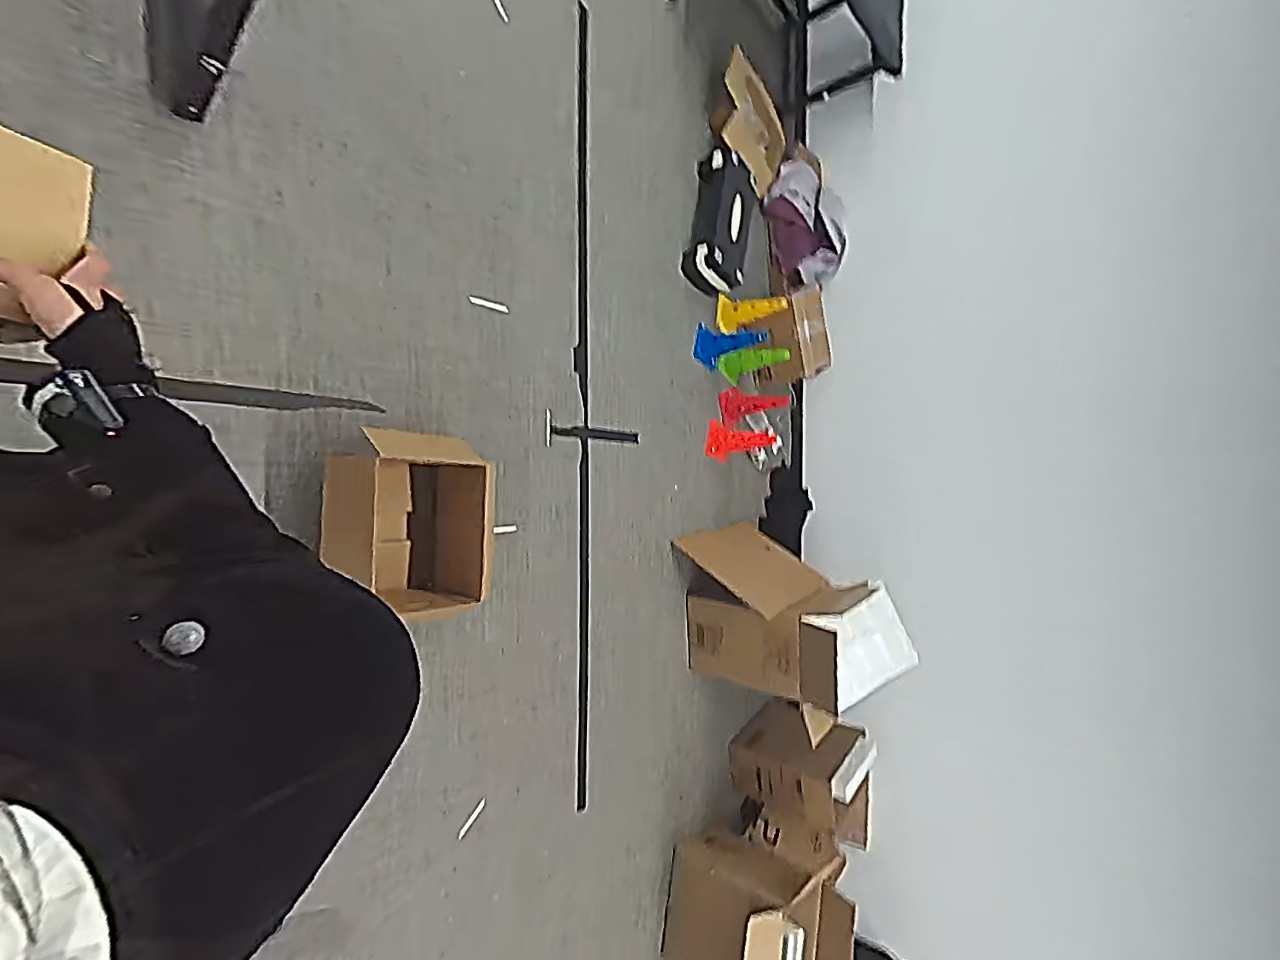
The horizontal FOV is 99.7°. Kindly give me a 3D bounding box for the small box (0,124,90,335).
[{"bbox_3d":[-0.634,-0.228,0.465,0.179,0.176,0.168,4,89,-64],"label":"small box"}]
